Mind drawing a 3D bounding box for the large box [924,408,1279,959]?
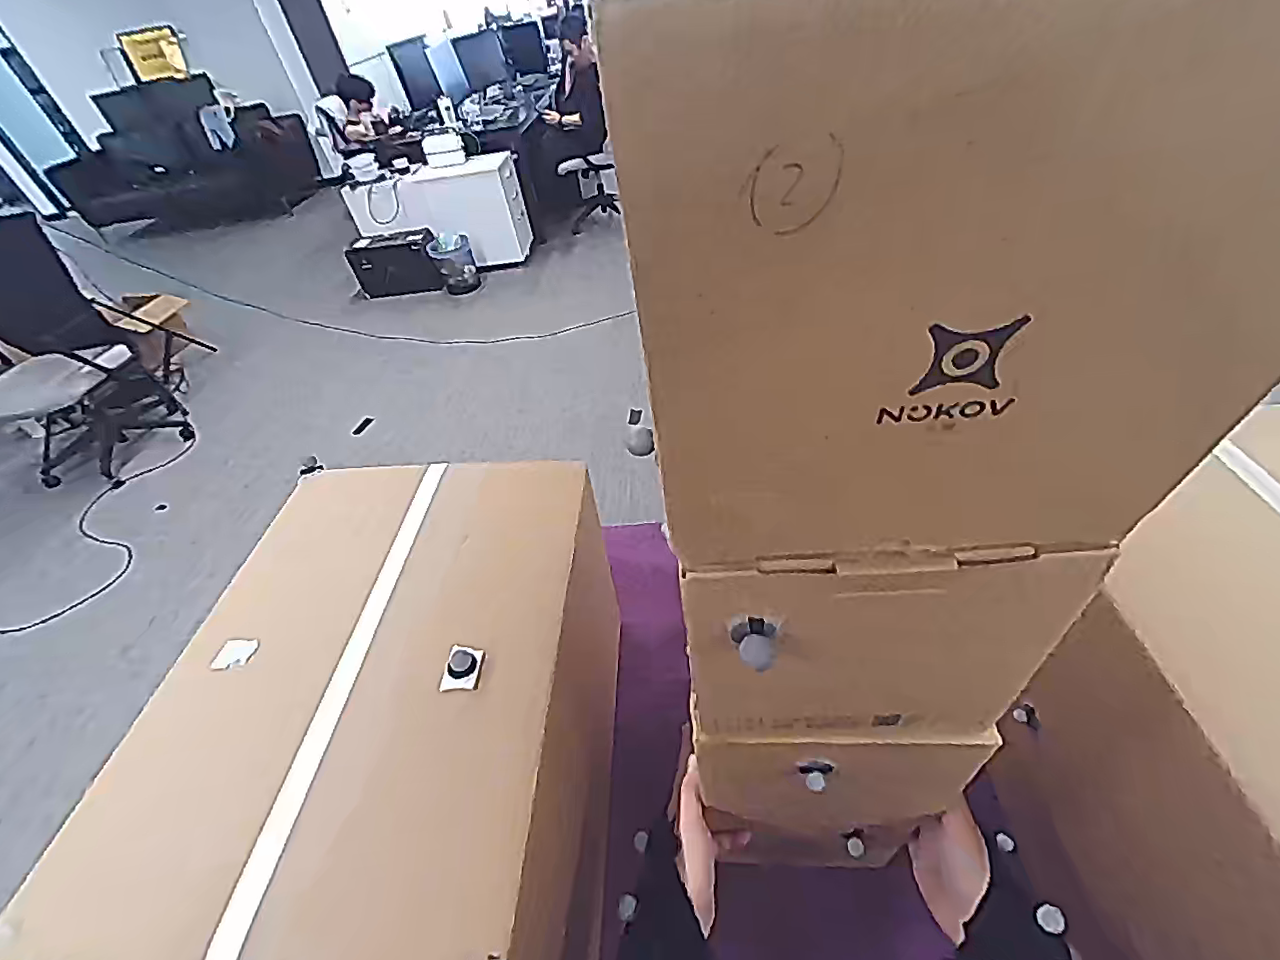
[{"bbox_3d":[0.496,0.189,0.456,0.320,0.320,0.408,-4,42,6],"label":"large box"}]
